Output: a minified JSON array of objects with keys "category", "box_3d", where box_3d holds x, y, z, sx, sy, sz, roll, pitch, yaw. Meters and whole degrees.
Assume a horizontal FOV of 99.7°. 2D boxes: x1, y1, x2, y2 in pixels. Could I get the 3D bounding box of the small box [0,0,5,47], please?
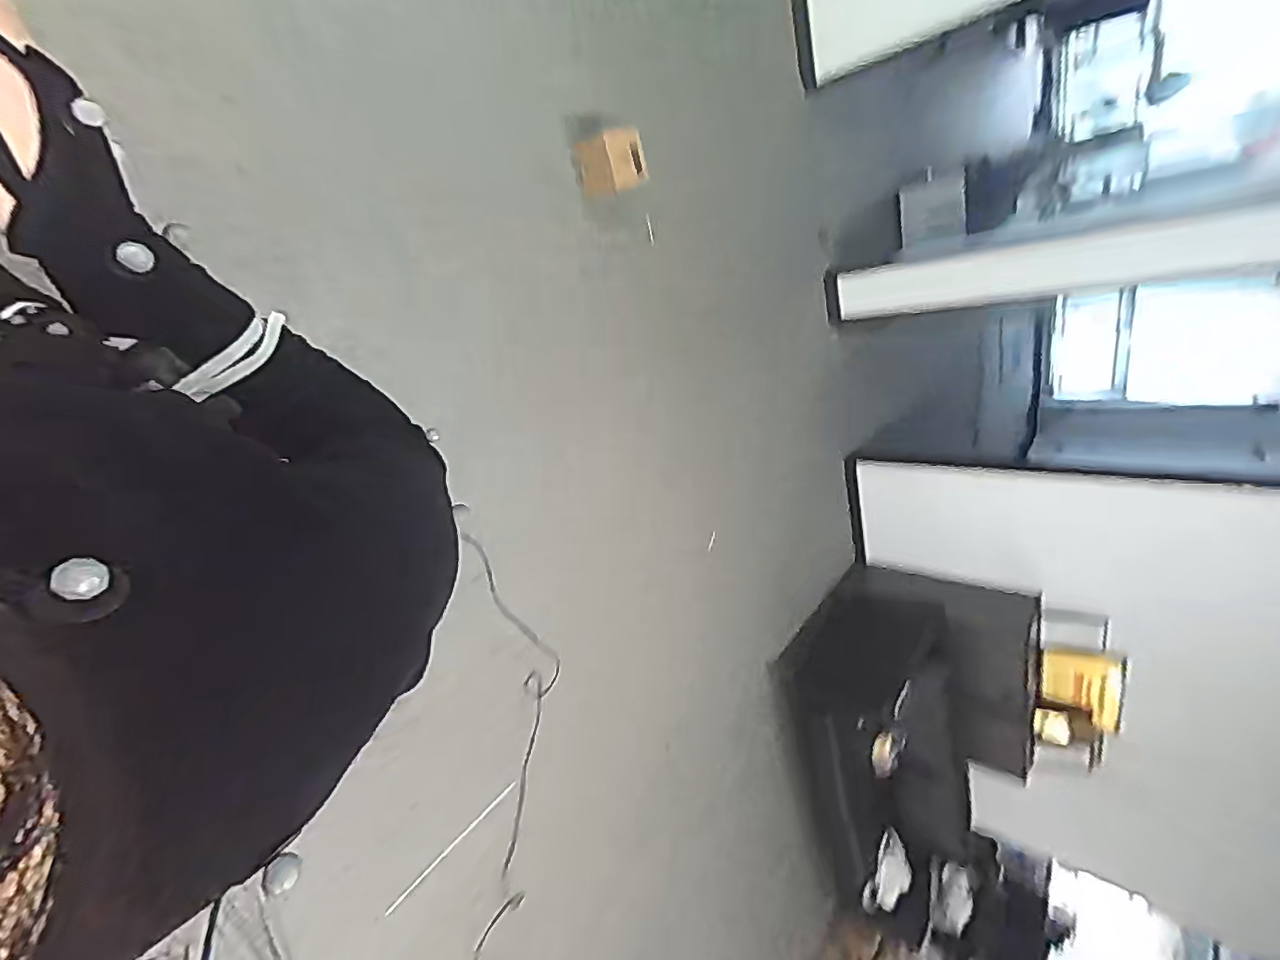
[{"category":"small box","box_3d":[-0.398,-0.287,0.206,0.168,0.176,0.179,-11,138,-37]}]
